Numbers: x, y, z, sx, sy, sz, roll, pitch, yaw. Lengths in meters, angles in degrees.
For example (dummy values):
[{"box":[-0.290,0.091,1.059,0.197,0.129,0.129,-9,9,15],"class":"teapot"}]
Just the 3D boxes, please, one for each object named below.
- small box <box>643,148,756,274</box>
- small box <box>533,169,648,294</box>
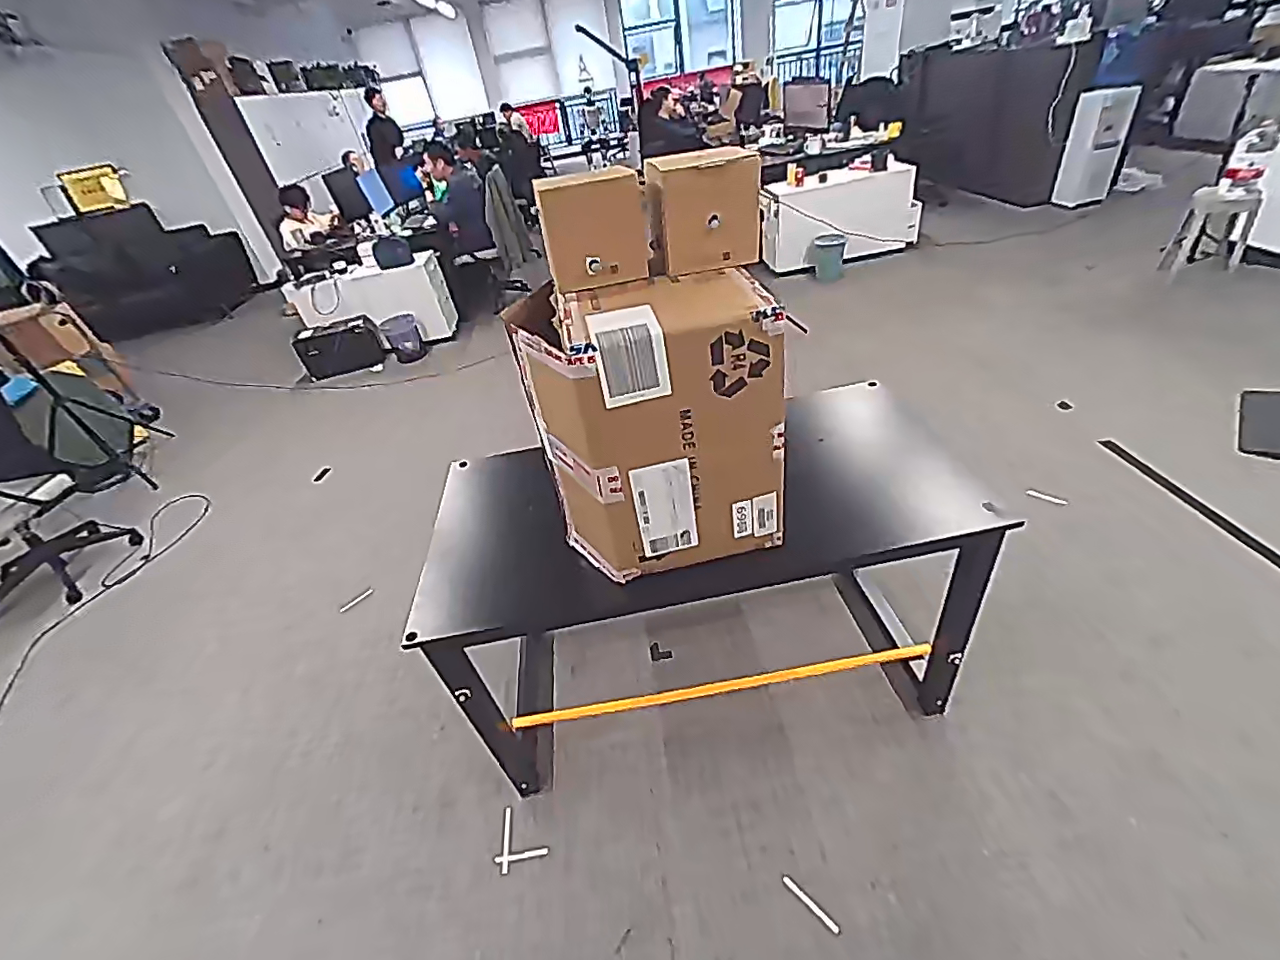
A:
[{"box":[0.106,-0.483,0.977,0.168,0.176,0.179,-10,37,-4],"class":"small box"},{"box":[-0.090,-0.451,0.980,0.168,0.176,0.179,-15,36,-6],"class":"small box"}]
